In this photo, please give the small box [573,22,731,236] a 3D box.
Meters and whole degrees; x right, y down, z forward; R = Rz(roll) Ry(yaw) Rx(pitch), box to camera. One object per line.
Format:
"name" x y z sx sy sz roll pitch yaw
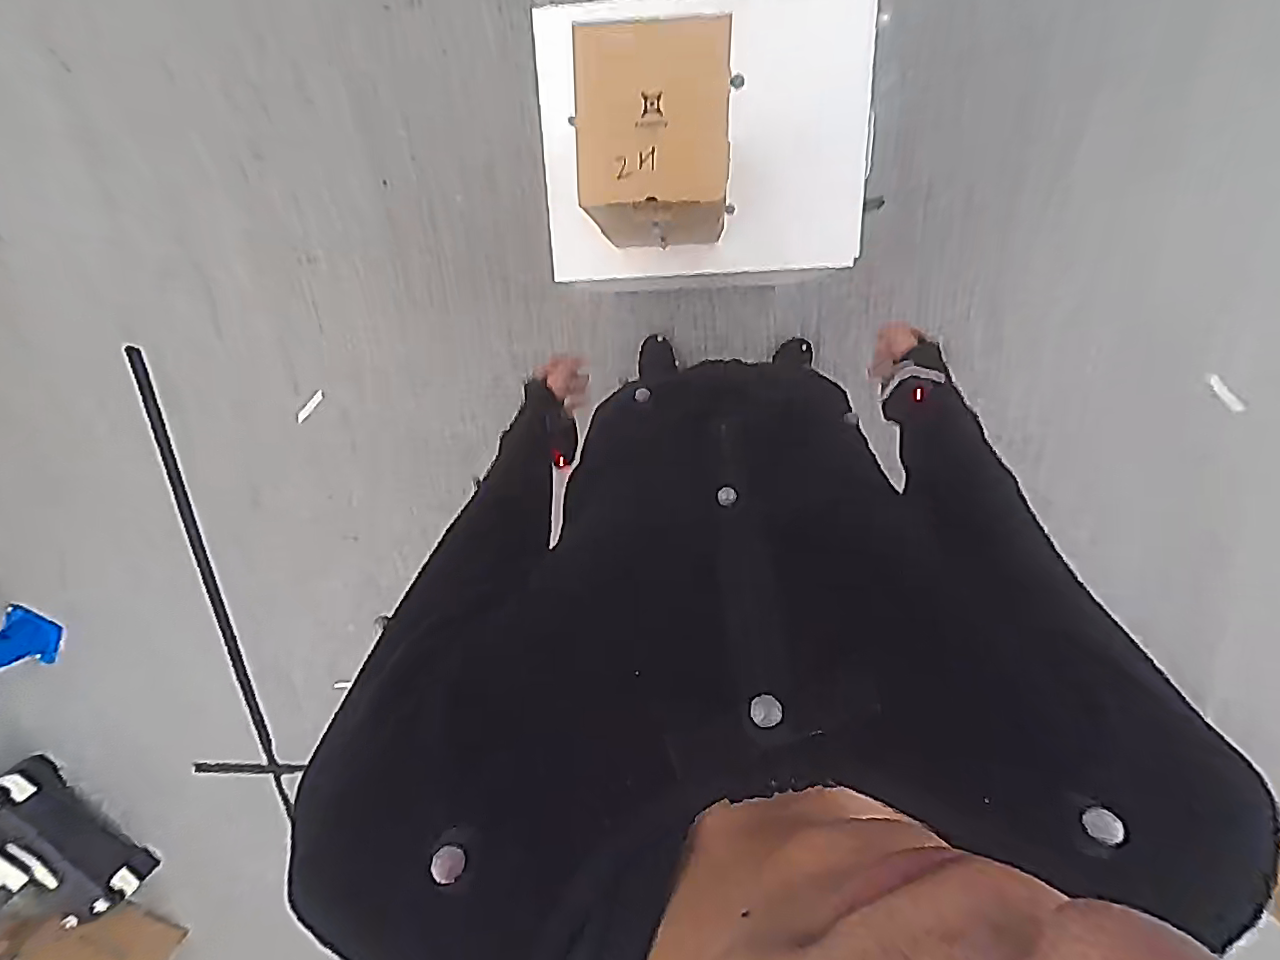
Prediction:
"small box" 0.017 -0.404 0.652 0.168 0.176 0.179 1 106 5
